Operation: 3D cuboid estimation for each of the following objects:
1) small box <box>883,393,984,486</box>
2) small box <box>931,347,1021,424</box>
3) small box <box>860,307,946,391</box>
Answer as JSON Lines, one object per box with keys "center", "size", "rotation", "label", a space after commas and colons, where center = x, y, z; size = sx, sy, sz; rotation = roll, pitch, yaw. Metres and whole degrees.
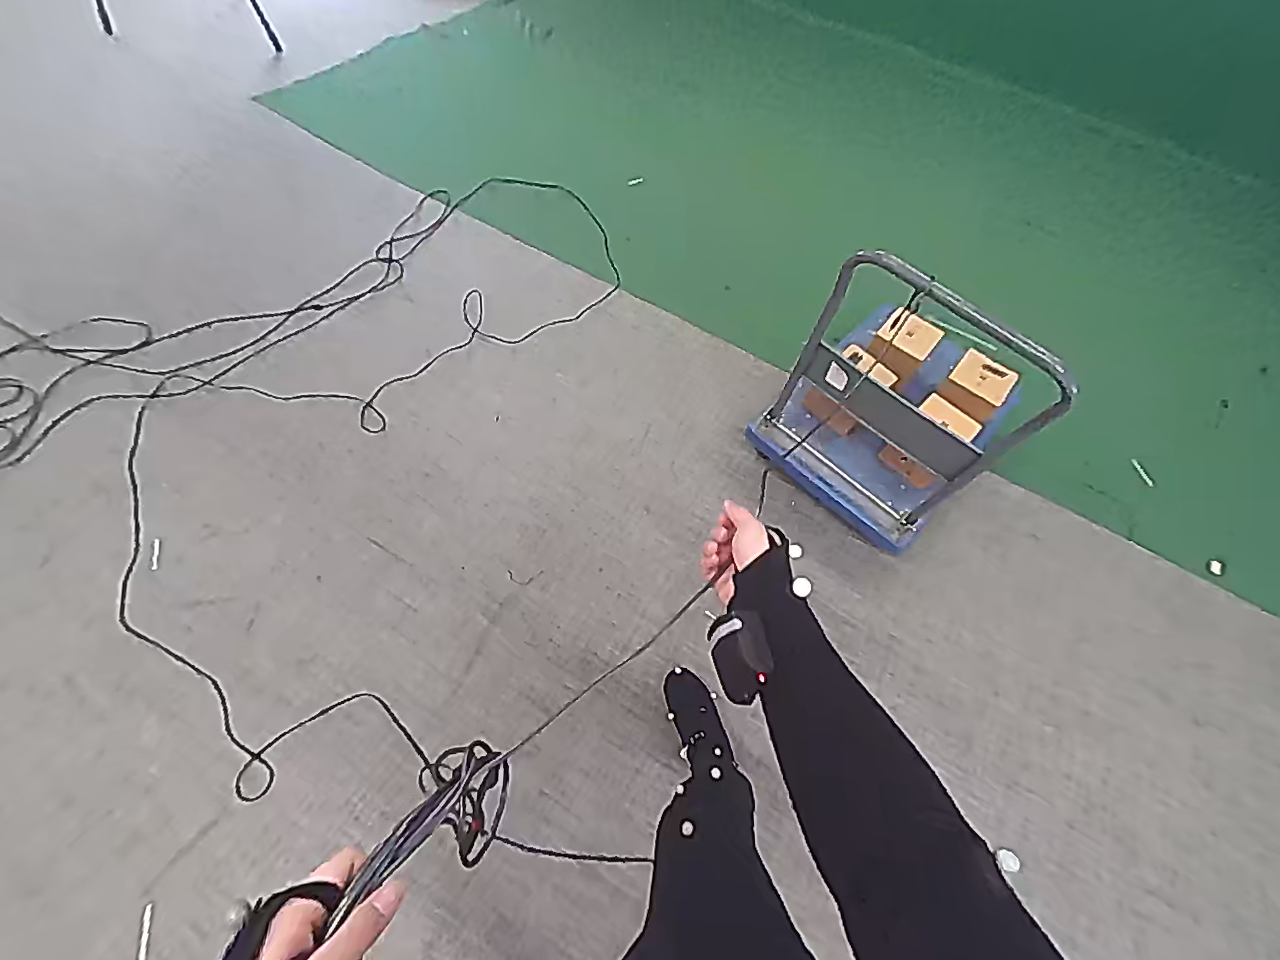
{"center": [0.855, -0.116, 1.594], "size": [0.179, 0.176, 0.168], "rotation": [-39, 71, -24], "label": "small box"}
{"center": [1.043, -0.276, 1.705], "size": [0.168, 0.176, 0.179], "rotation": [38, 64, 16], "label": "small box"}
{"center": [0.851, -0.424, 1.772], "size": [0.168, 0.176, 0.179], "rotation": [38, 63, 15], "label": "small box"}
